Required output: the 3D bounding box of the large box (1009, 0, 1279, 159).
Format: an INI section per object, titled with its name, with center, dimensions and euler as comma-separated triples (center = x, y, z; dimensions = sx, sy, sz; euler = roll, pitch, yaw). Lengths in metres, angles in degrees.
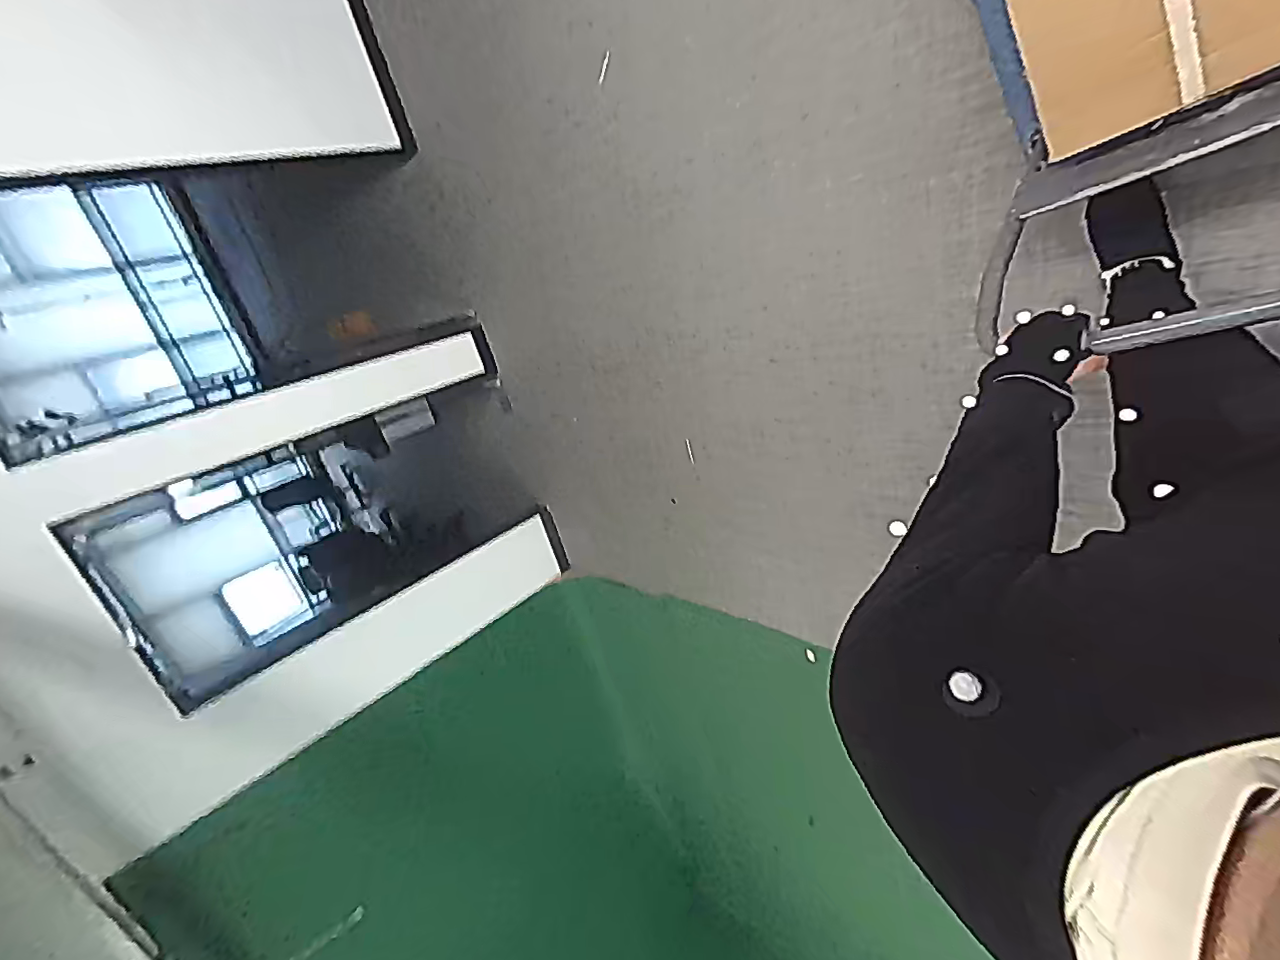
[large box]
center = 0.724, -0.753, 0.731
dimensions = 0.320, 0.320, 0.408
euler = -7, 125, 52
